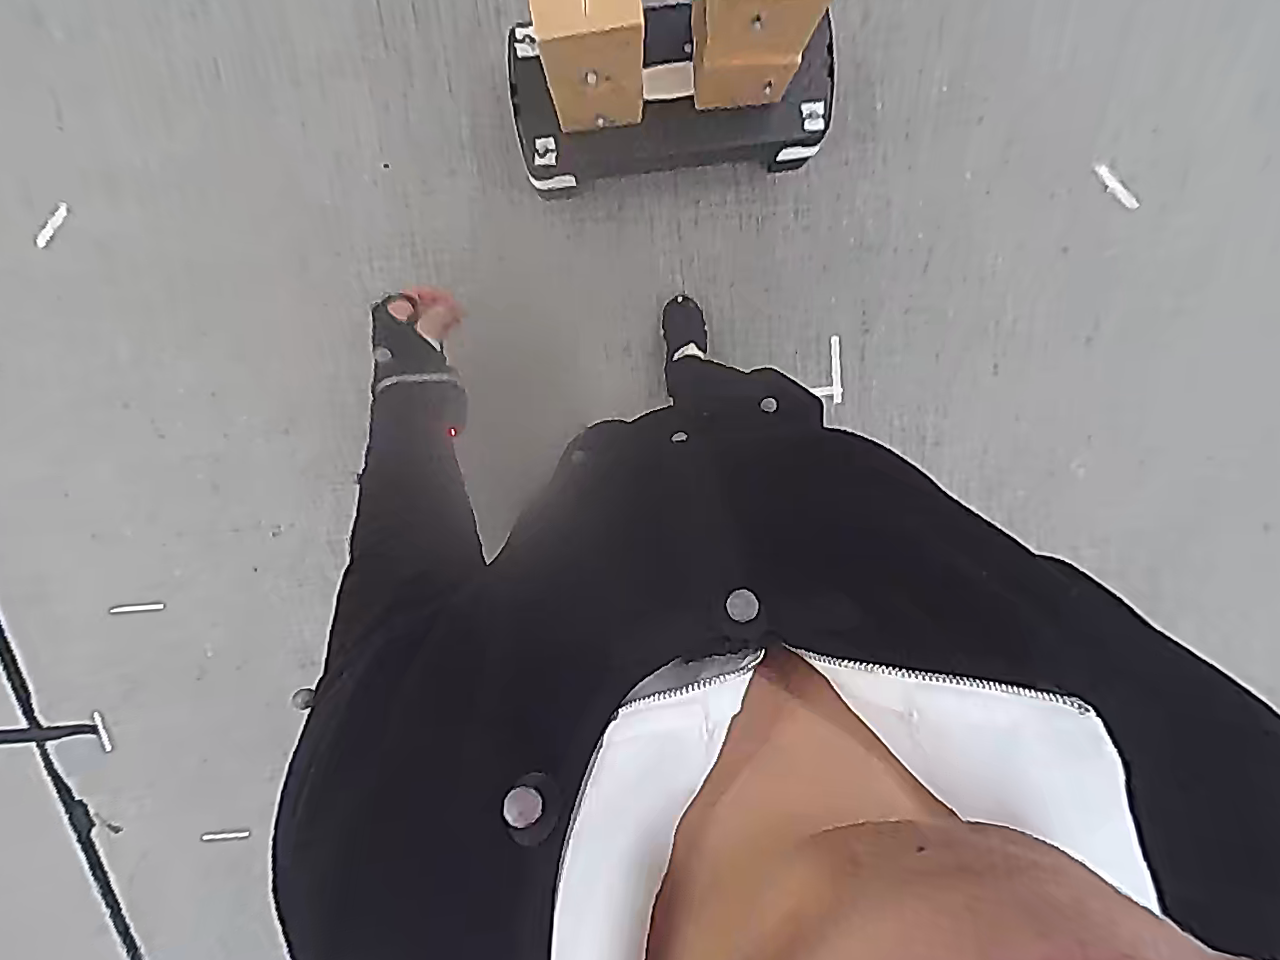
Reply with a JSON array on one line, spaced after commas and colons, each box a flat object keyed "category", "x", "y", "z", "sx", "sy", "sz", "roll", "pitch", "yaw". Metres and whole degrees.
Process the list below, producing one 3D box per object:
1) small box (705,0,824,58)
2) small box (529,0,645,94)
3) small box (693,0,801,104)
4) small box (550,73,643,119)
[{"category": "small box", "x": 0.195, "y": -0.802, "z": 0.852, "sx": 0.179, "sy": 0.176, "sz": 0.168, "roll": -3, "pitch": 103, "yaw": 1}, {"category": "small box", "x": -0.087, "y": -0.755, "z": 0.855, "sx": 0.168, "sy": 0.176, "sz": 0.179, "roll": -8, "pitch": 104, "yaw": 1}, {"category": "small box", "x": 0.192, "y": -0.823, "z": 1.014, "sx": 0.179, "sy": 0.176, "sz": 0.168, "roll": -4, "pitch": 103, "yaw": 1}, {"category": "small box", "x": -0.087, "y": -0.788, "z": 1.016, "sx": 0.168, "sy": 0.176, "sz": 0.179, "roll": -7, "pitch": 103, "yaw": 1}]
